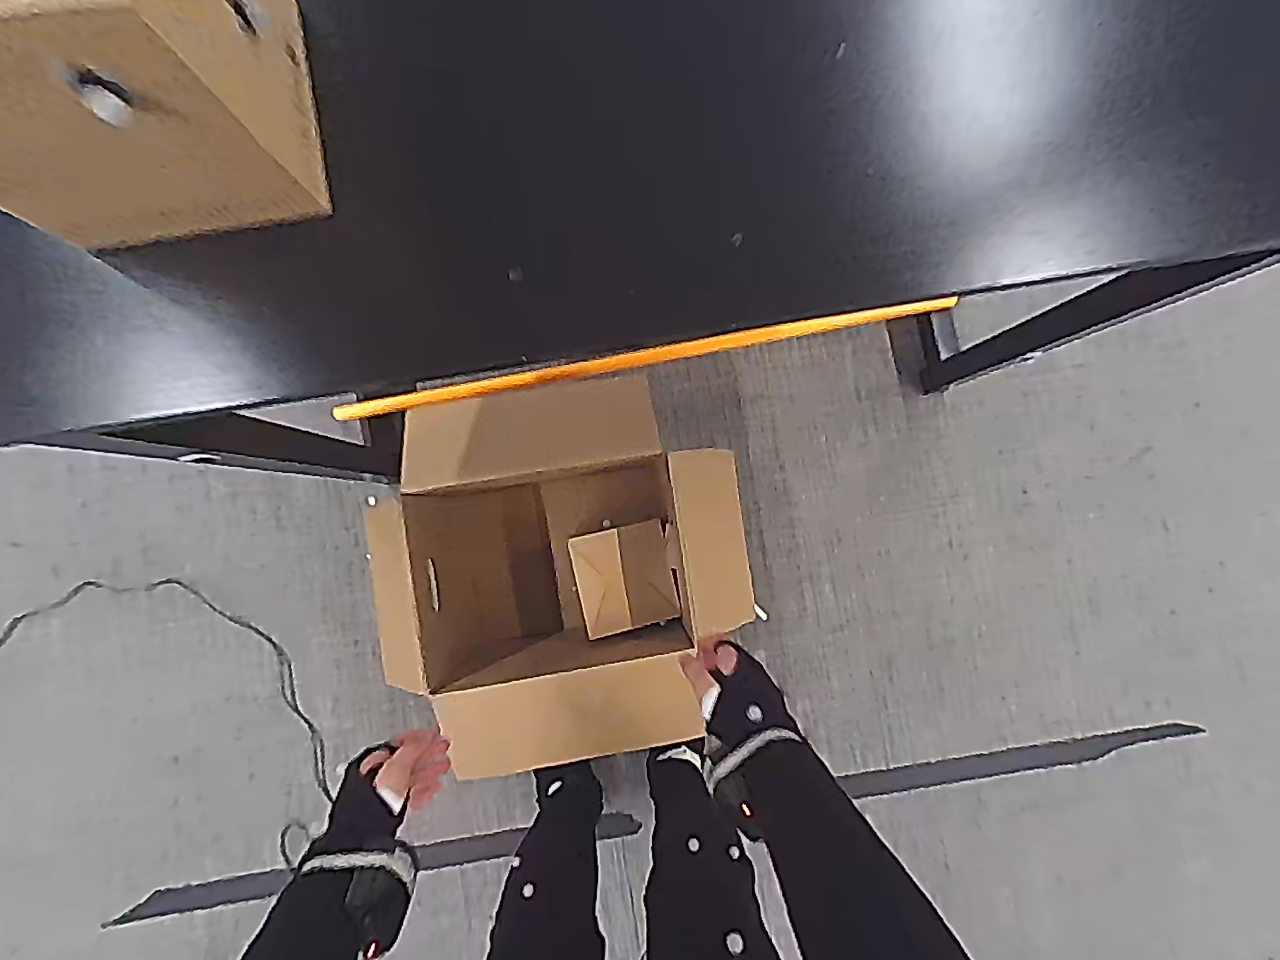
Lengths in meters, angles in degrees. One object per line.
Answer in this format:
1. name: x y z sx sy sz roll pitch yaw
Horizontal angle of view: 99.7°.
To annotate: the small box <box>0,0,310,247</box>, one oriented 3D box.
1. small box: -0.320 -0.259 0.310 0.179 0.176 0.168 -10 86 -3
